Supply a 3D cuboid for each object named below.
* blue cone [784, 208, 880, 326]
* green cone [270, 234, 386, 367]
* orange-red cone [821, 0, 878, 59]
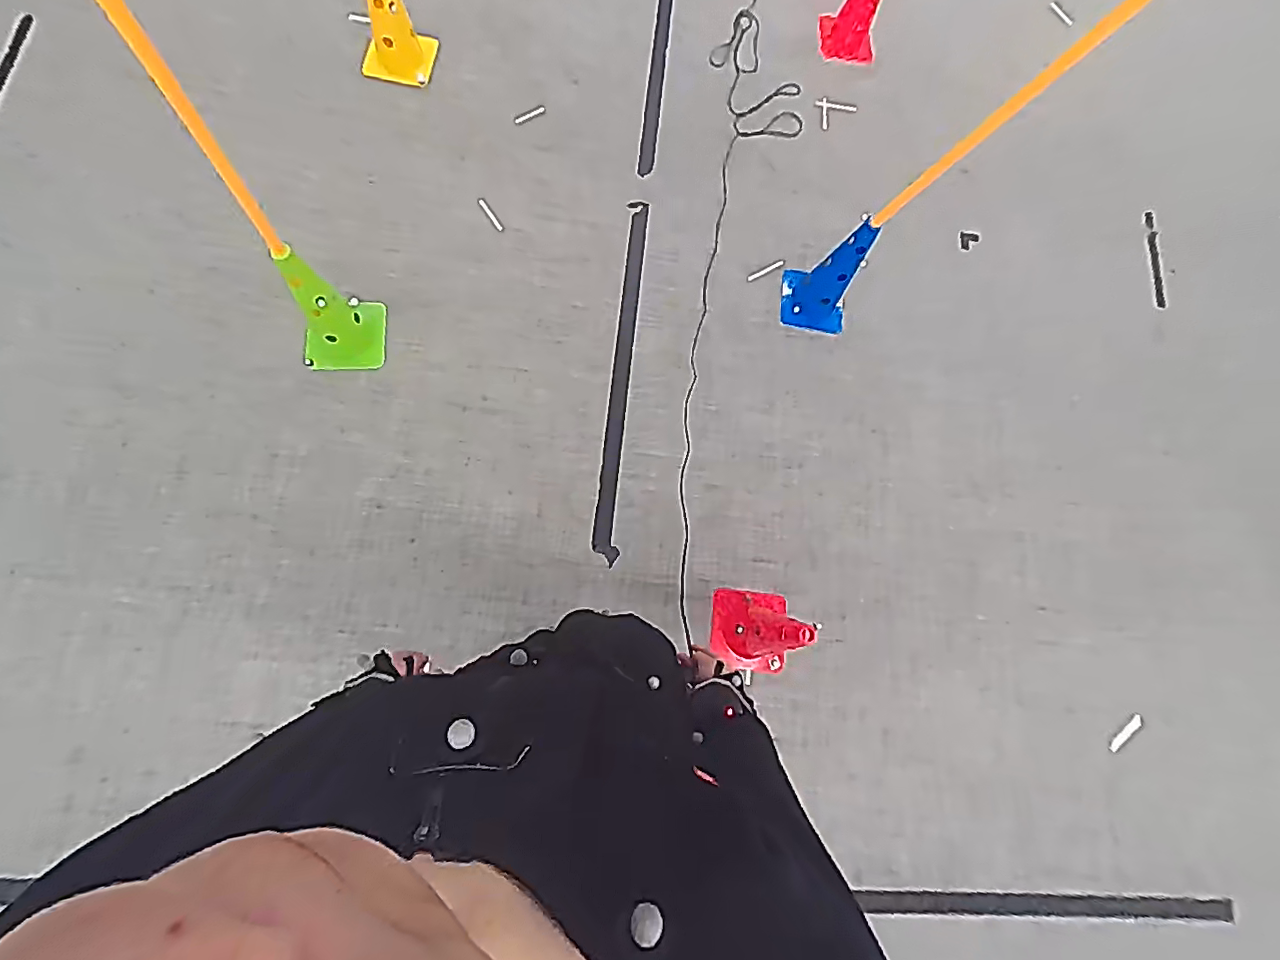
[{"bbox_3d":[0.563,-0.614,1.533,0.193,0.380,0.192,10,74,-5],"label":"blue cone"},{"bbox_3d":[-0.770,-0.444,1.296,0.200,0.368,0.202,-3,74,-9],"label":"green cone"},{"bbox_3d":[0.779,-1.667,1.814,0.199,0.360,0.198,2,75,-6],"label":"orange-red cone"}]
